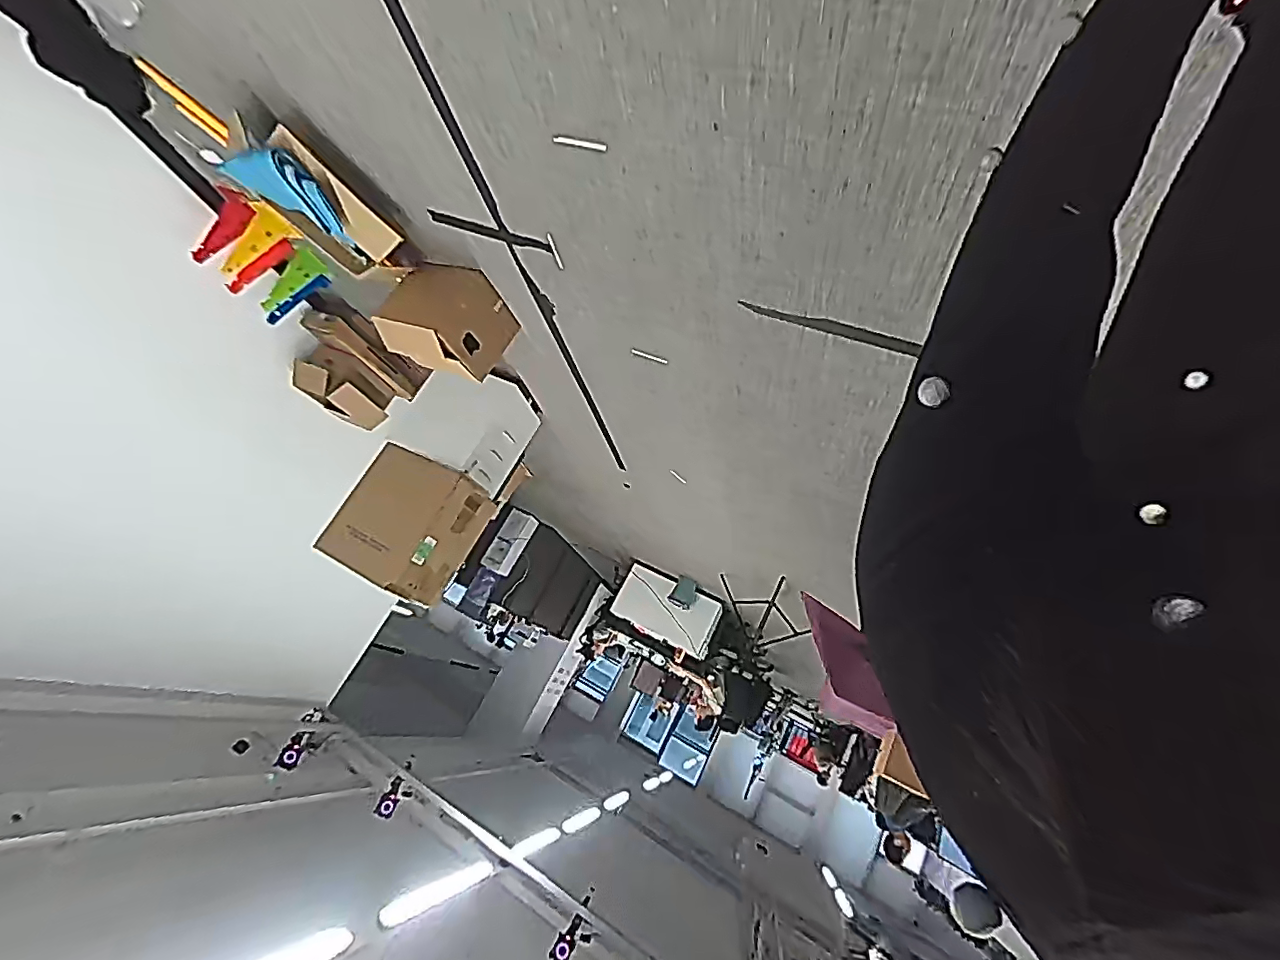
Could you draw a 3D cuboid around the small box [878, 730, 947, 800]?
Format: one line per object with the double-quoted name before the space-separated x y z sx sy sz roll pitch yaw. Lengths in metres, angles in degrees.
"small box" 0.989 1.028 1.964 0.168 0.176 0.179 21 160 21
